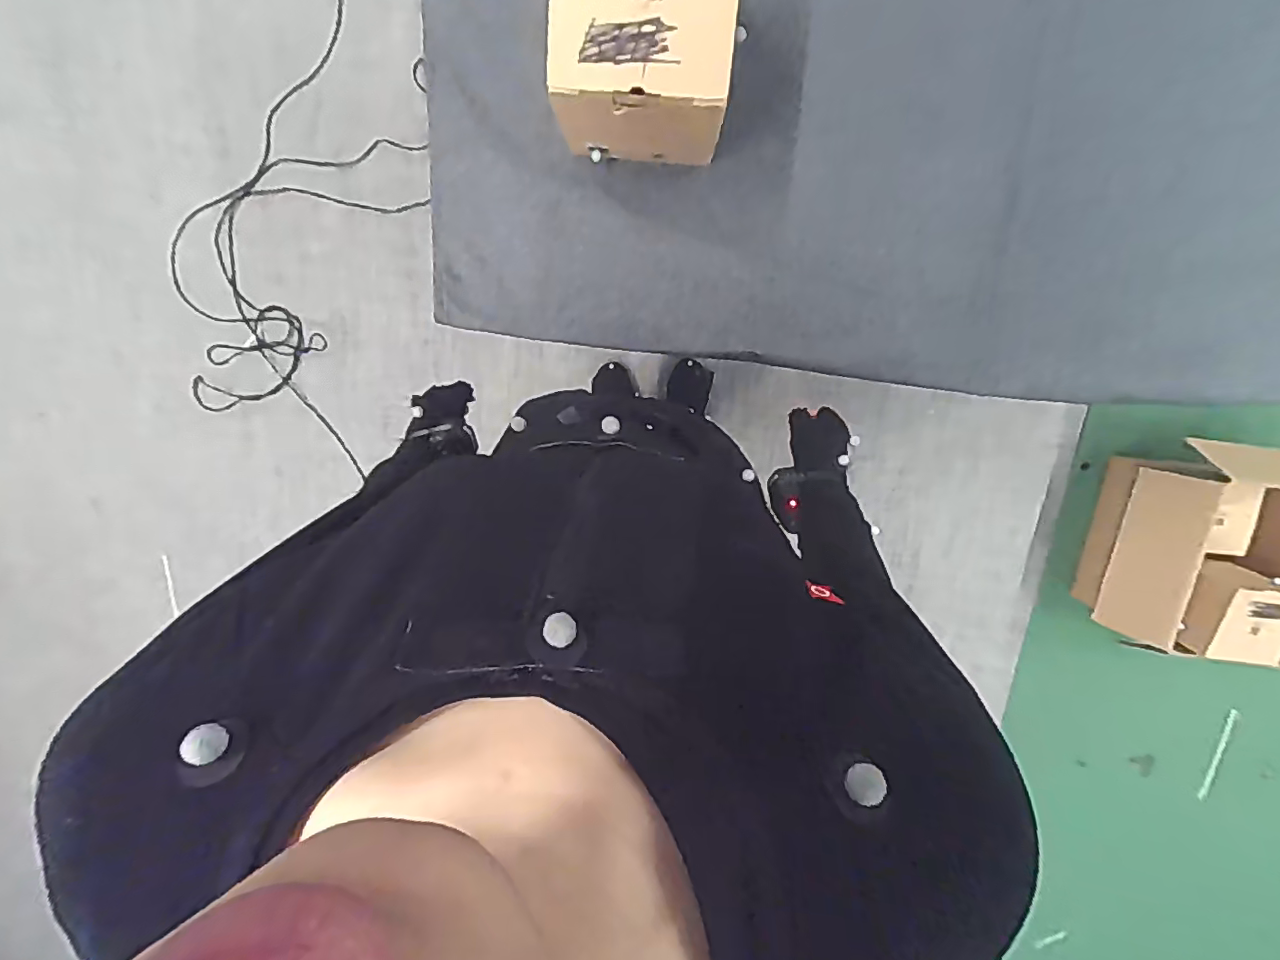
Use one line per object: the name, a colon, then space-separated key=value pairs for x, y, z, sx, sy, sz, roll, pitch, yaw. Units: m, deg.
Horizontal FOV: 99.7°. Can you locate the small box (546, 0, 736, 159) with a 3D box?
small box: x=0.006 y=-0.447 z=0.543 sx=0.168 sy=0.176 sz=0.179 roll=5 pitch=103 yaw=0
